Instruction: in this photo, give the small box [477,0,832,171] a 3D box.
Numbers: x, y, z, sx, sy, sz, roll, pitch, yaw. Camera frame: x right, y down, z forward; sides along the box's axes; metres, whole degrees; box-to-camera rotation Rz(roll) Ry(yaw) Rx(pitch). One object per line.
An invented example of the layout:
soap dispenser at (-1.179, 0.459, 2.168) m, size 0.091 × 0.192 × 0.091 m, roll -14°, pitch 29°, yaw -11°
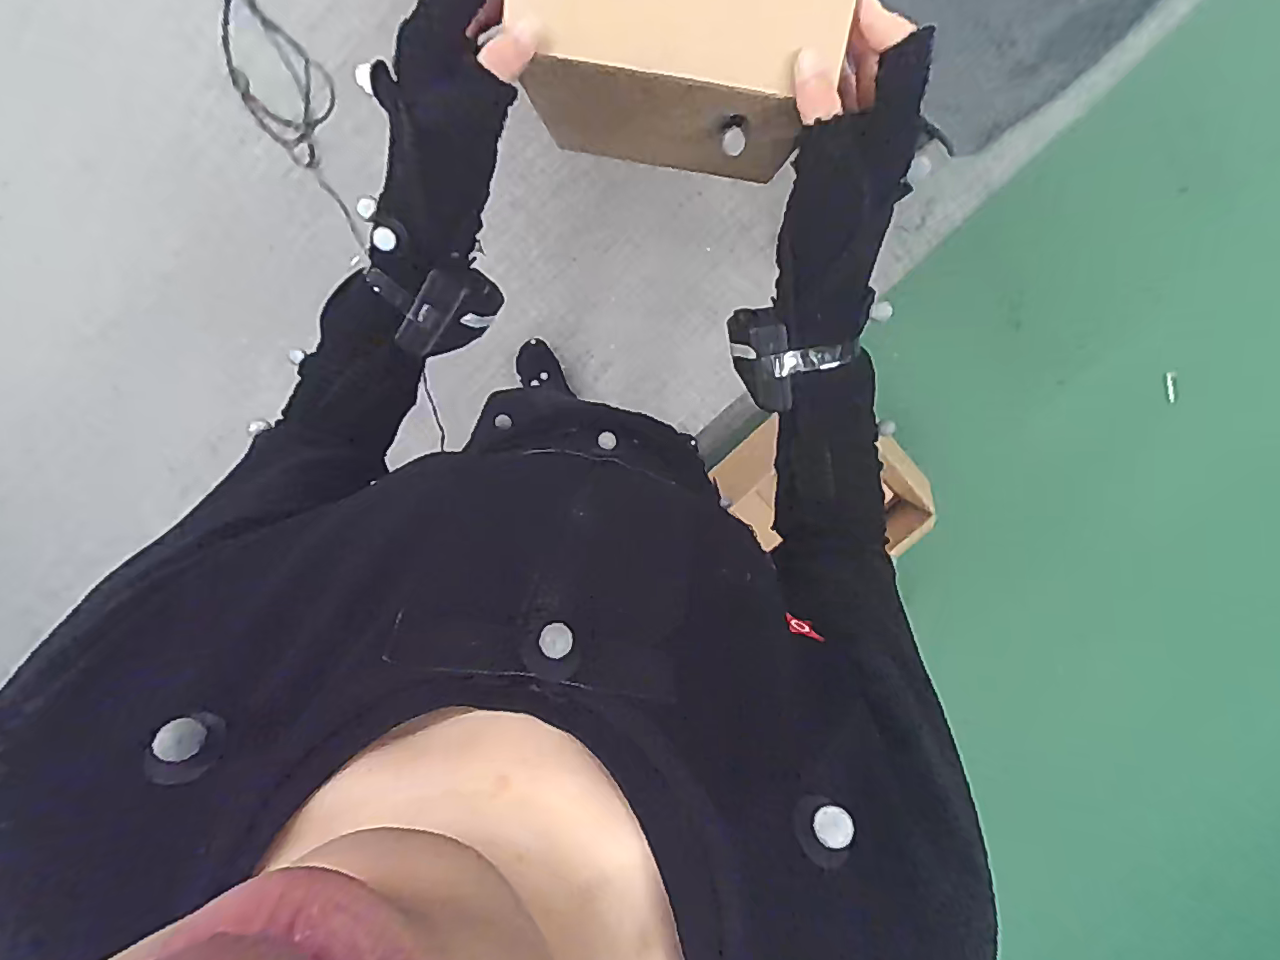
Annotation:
small box at (0.016, -0.308, 0.331) m, size 0.179 × 0.176 × 0.168 m, roll 9°, pitch 107°, yaw -1°
